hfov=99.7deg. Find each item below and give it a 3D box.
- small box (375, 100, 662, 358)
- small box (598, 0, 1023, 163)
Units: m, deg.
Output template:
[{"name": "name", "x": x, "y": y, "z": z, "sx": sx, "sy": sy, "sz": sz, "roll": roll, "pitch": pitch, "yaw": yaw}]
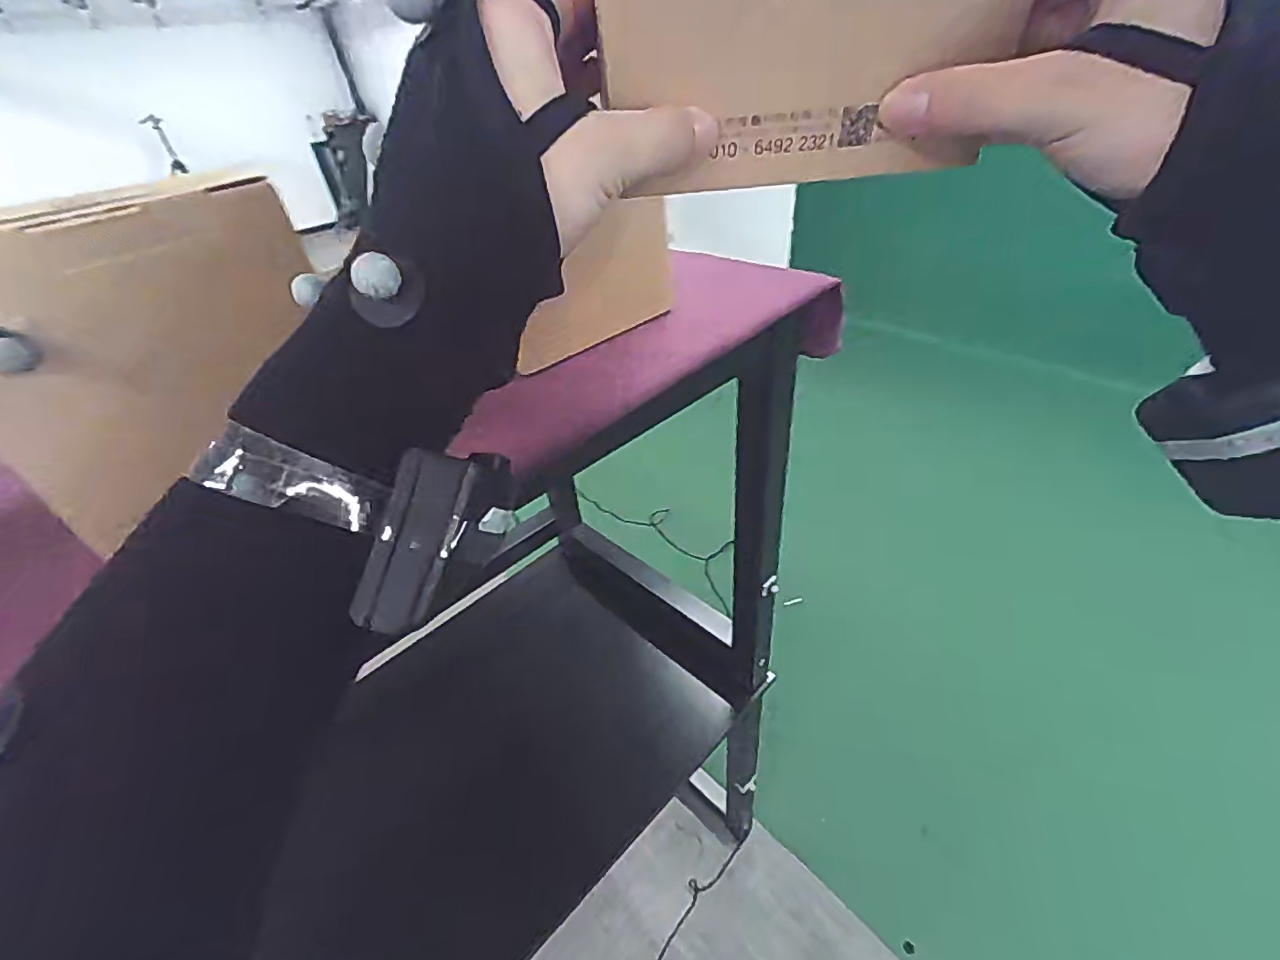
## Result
[{"name": "small box", "x": -0.094, "y": -0.226, "z": 0.484, "sx": 0.179, "sy": 0.176, "sz": 0.168, "roll": -33, "pitch": 44, "yaw": -30}, {"name": "small box", "x": 0.062, "y": -0.254, "z": 0.239, "sx": 0.168, "sy": 0.176, "sz": 0.179, "roll": -5, "pitch": 46, "yaw": -2}]
